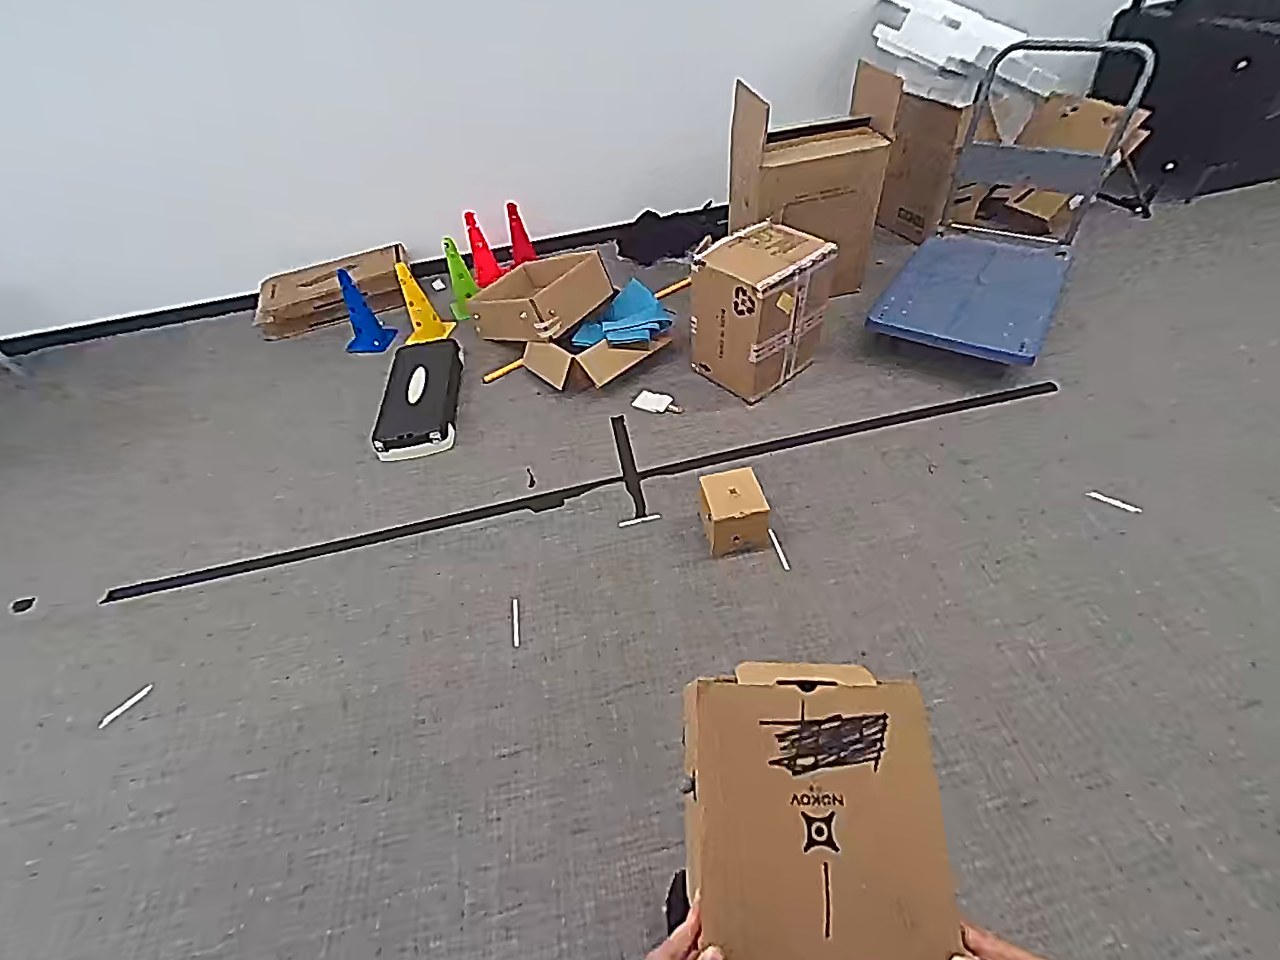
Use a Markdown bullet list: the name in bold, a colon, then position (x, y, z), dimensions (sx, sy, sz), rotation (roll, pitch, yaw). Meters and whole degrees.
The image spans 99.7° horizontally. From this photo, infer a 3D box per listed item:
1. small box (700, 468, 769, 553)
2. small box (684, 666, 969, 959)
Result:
- **small box**: position (0.278, 0.092, 1.635), dimensions (0.168, 0.176, 0.179), rotation (-11, 48, -4)
- **small box**: position (0.123, 0.251, 0.438), dimensions (0.168, 0.176, 0.179), rotation (0, 67, 2)
